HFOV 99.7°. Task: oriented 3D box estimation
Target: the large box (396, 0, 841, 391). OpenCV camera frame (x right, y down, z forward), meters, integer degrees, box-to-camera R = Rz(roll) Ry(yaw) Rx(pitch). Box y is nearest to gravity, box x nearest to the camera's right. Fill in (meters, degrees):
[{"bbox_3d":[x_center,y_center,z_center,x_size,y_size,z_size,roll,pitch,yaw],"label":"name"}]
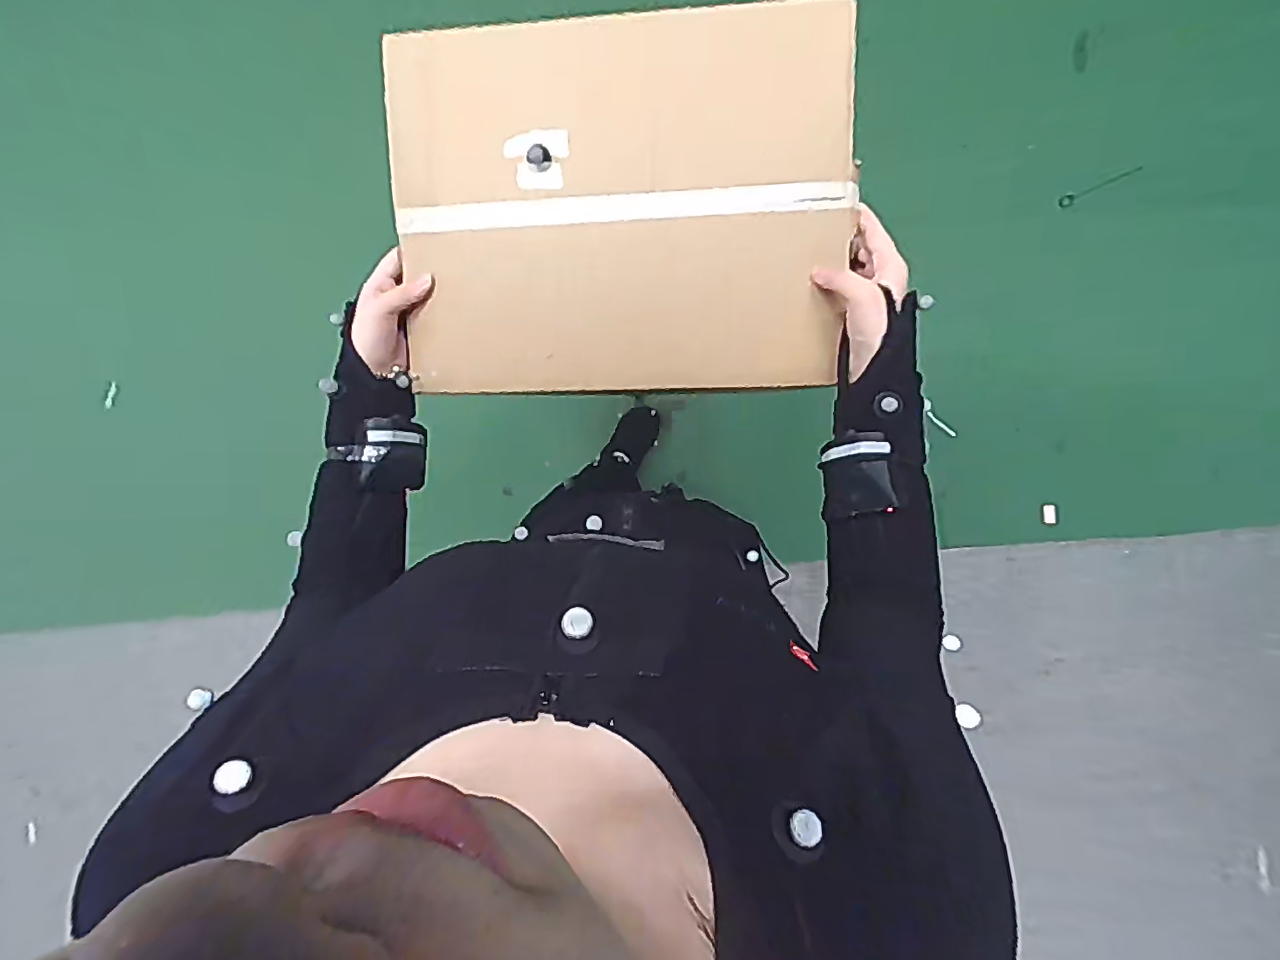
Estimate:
[{"bbox_3d":[-0.004,-0.269,0.639,0.408,0.320,0.320,0,98,7],"label":"large box"}]
